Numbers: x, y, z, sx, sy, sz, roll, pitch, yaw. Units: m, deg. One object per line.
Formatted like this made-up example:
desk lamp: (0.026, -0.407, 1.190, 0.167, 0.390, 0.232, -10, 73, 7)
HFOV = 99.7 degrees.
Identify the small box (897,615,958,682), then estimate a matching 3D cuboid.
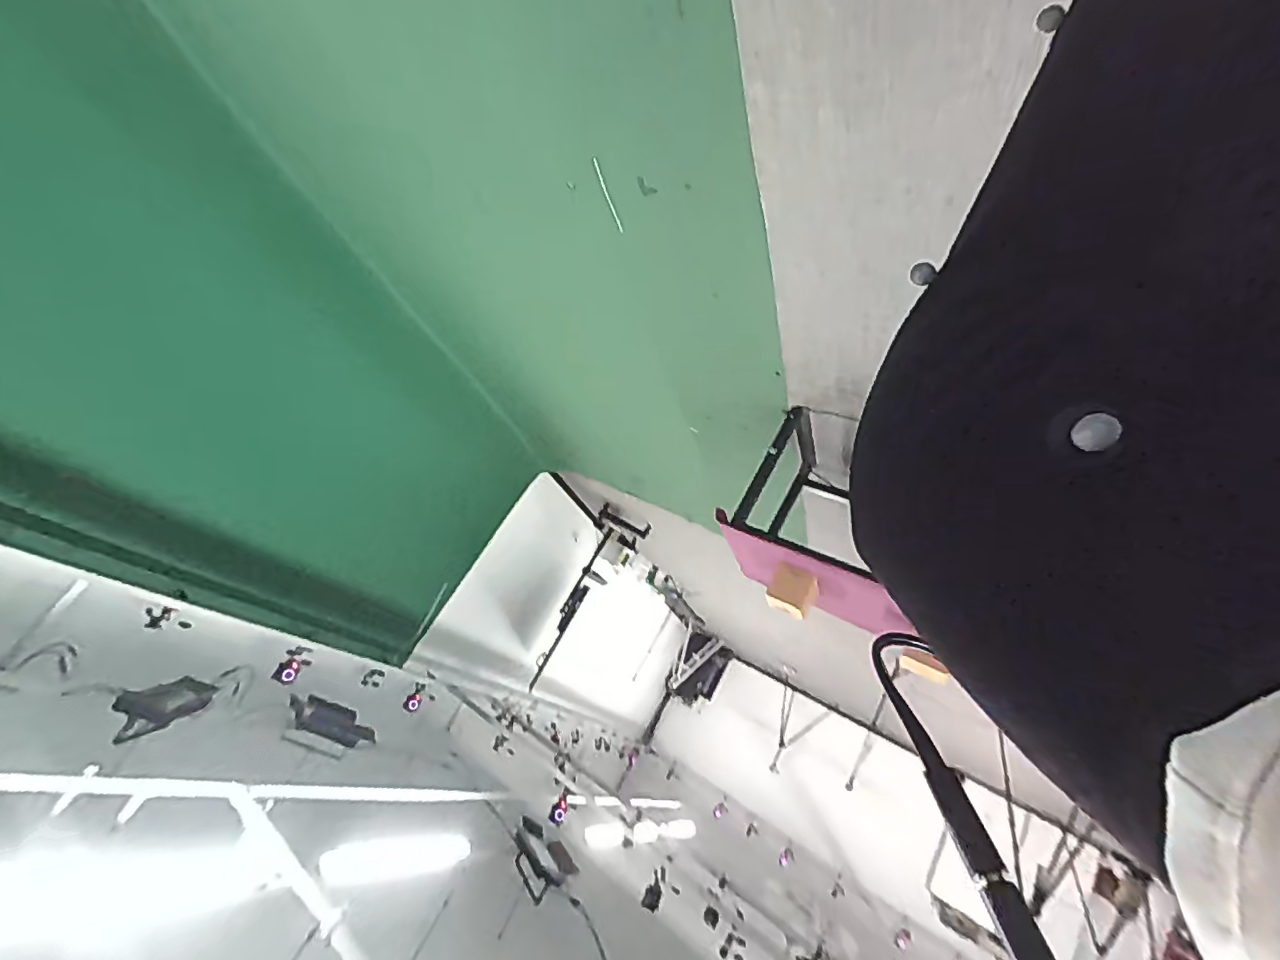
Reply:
small box: (1.114, 0.652, 2.098, 0.168, 0.176, 0.179, 20, 159, 31)
